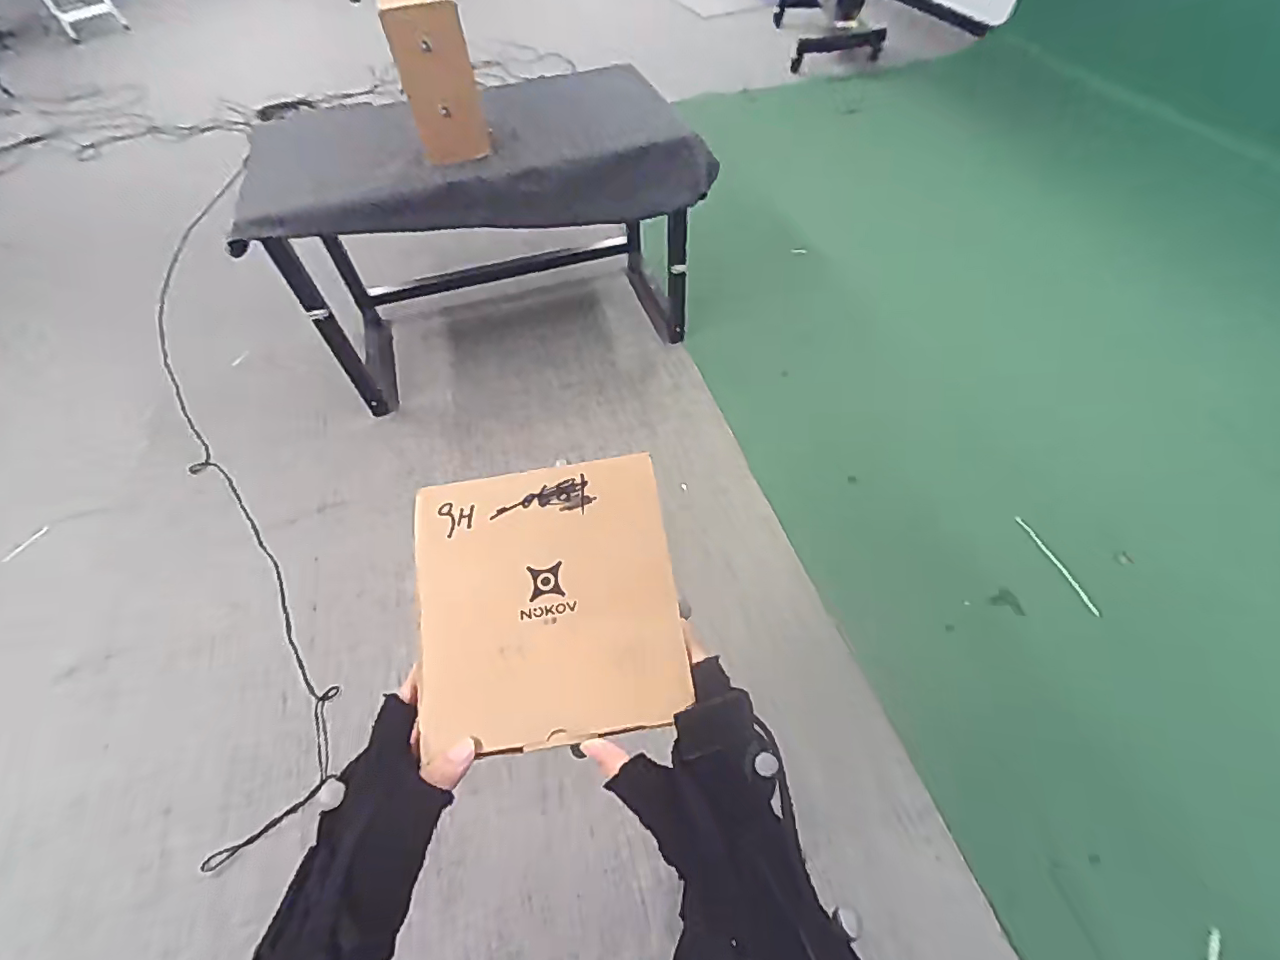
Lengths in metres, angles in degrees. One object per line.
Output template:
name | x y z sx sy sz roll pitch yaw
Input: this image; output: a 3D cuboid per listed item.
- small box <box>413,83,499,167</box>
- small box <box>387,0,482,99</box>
small box | -0.491 -0.963 1.446 0.179 0.176 0.168 -14 55 -8
small box | -0.494 -1.061 1.314 0.179 0.176 0.168 -16 56 -9
